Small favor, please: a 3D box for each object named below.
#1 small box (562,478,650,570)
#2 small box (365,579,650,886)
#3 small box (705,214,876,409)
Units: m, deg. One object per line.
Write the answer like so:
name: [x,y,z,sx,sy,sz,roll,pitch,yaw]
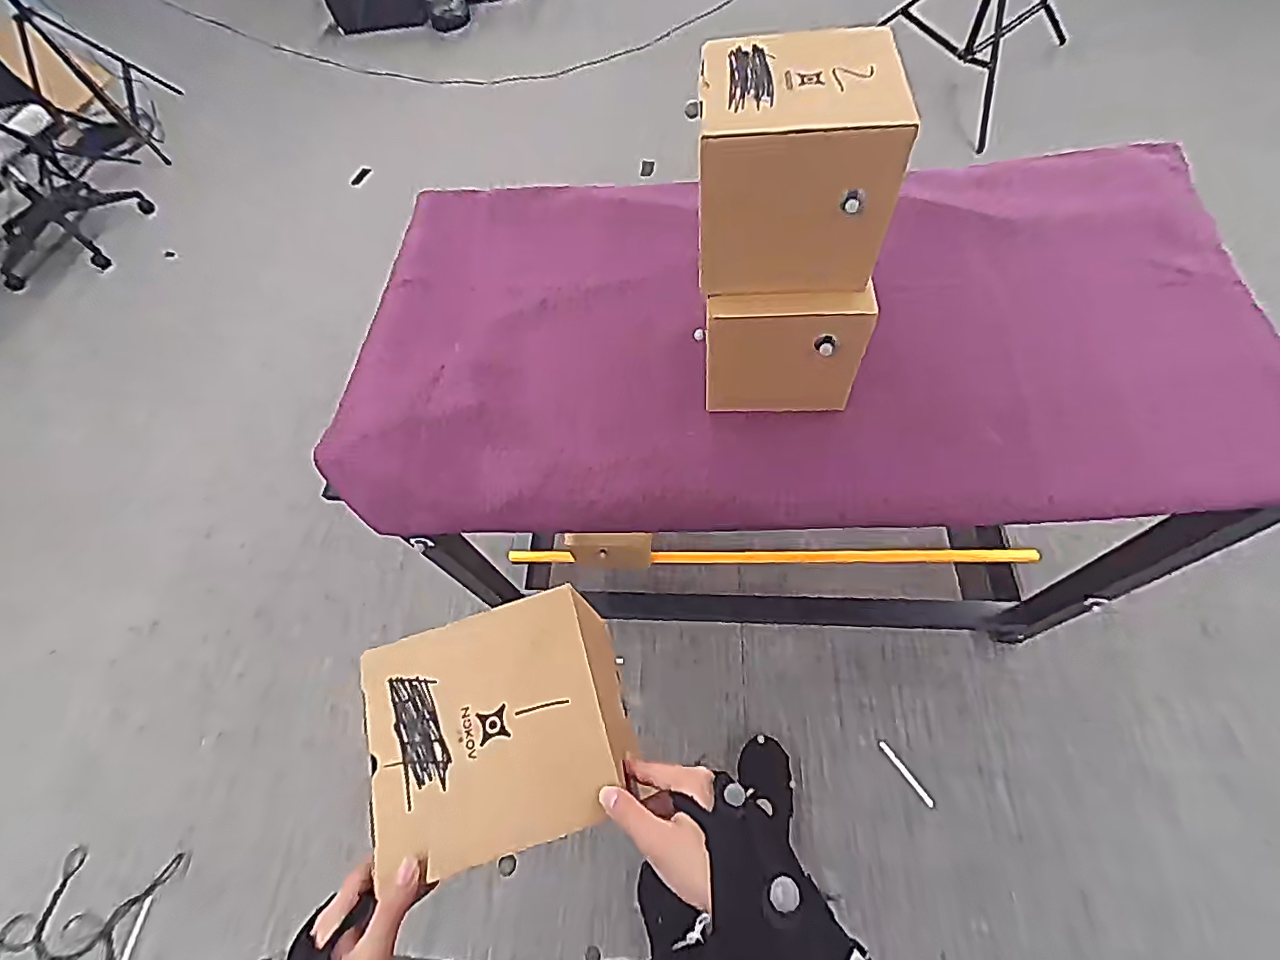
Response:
small box: [-0.069,0.105,1.246,0.179,0.176,0.168,-1,63,6]
small box: [-0.101,0.207,0.459,0.179,0.176,0.168,-18,63,-3]
small box: [0.171,-0.202,0.673,0.179,0.176,0.168,0,60,7]
